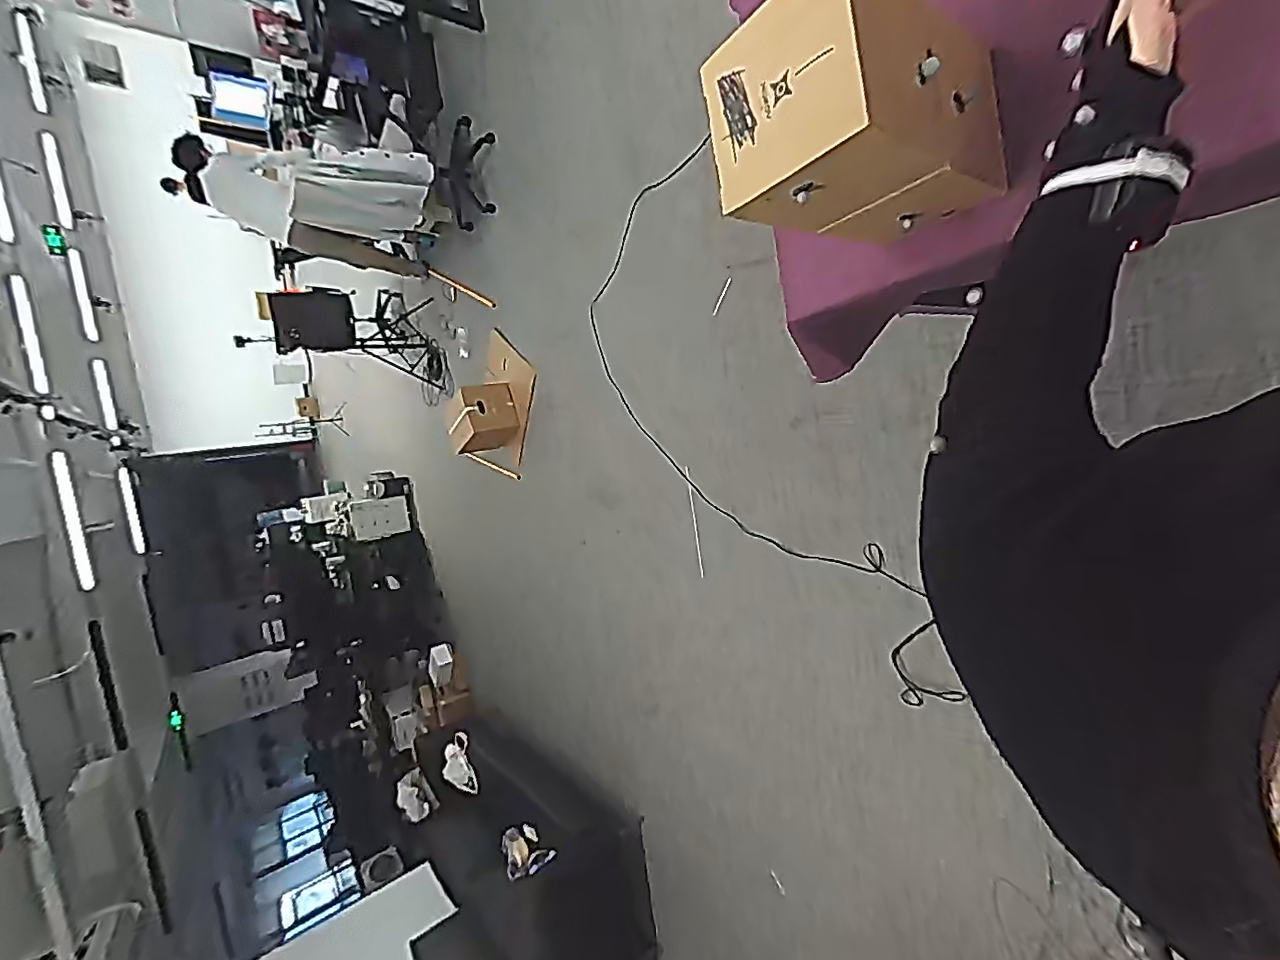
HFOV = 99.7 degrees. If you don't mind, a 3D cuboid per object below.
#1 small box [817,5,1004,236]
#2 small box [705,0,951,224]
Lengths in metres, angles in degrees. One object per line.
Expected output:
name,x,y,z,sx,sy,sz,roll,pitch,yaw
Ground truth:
small box,0.329,-0.424,0.677,0.168,0.176,0.179,-5,95,53
small box,0.198,-0.397,0.580,0.179,0.176,0.168,-6,94,53
